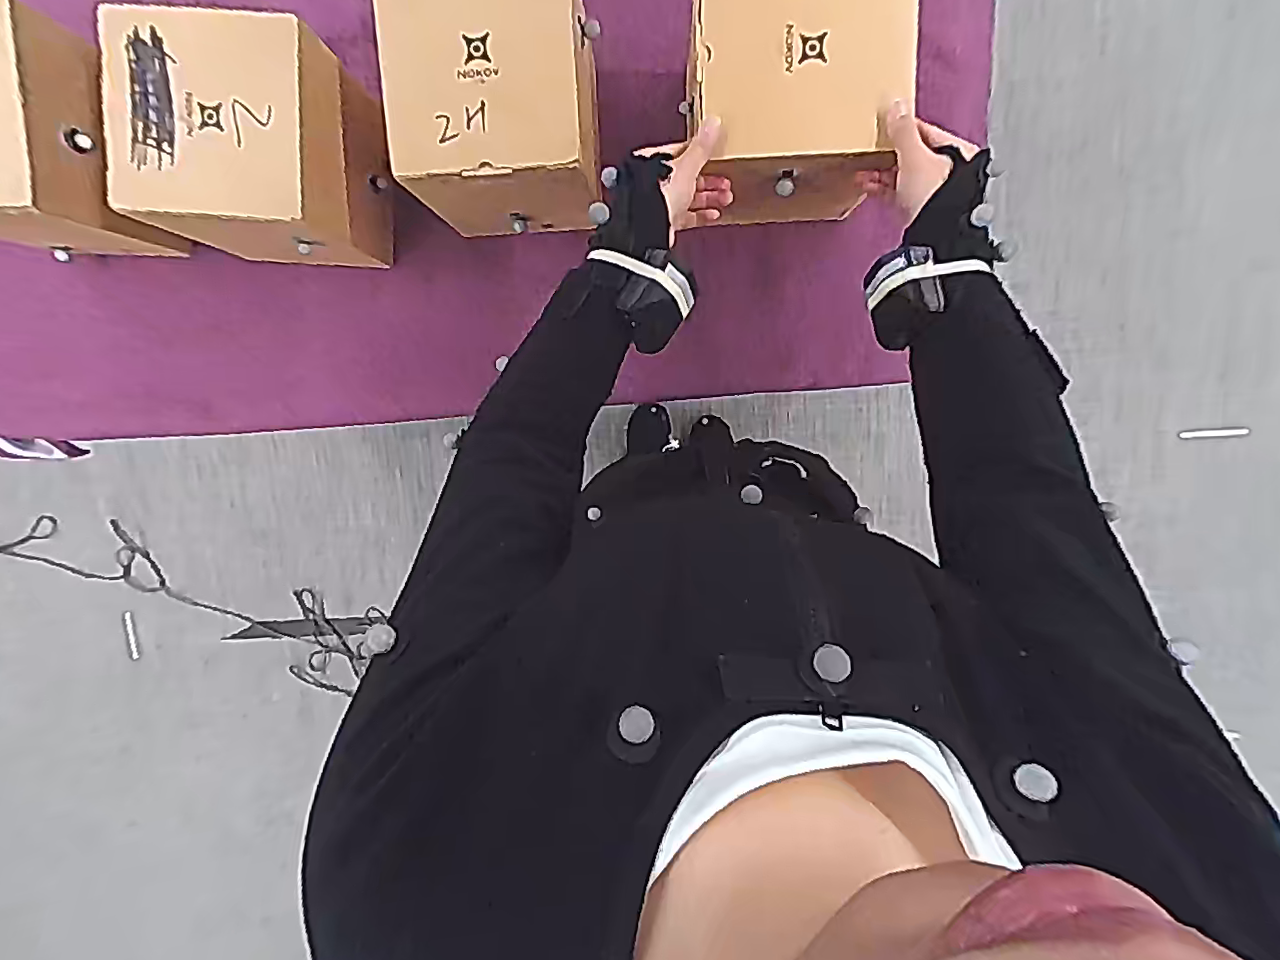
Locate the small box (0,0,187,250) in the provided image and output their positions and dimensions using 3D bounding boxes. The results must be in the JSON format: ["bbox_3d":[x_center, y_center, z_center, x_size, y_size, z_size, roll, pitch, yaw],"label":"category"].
[{"bbox_3d":[-0.608,-0.344,0.548,0.168,0.176,0.179,2,98,2],"label":"small box"}]

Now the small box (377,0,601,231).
[{"bbox_3d":[-0.131,-0.364,0.526,0.168,0.176,0.179,-2,98,3],"label":"small box"}]

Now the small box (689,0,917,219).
[{"bbox_3d":[0.137,-0.363,0.515,0.179,0.176,0.168,-1,98,4],"label":"small box"}]
